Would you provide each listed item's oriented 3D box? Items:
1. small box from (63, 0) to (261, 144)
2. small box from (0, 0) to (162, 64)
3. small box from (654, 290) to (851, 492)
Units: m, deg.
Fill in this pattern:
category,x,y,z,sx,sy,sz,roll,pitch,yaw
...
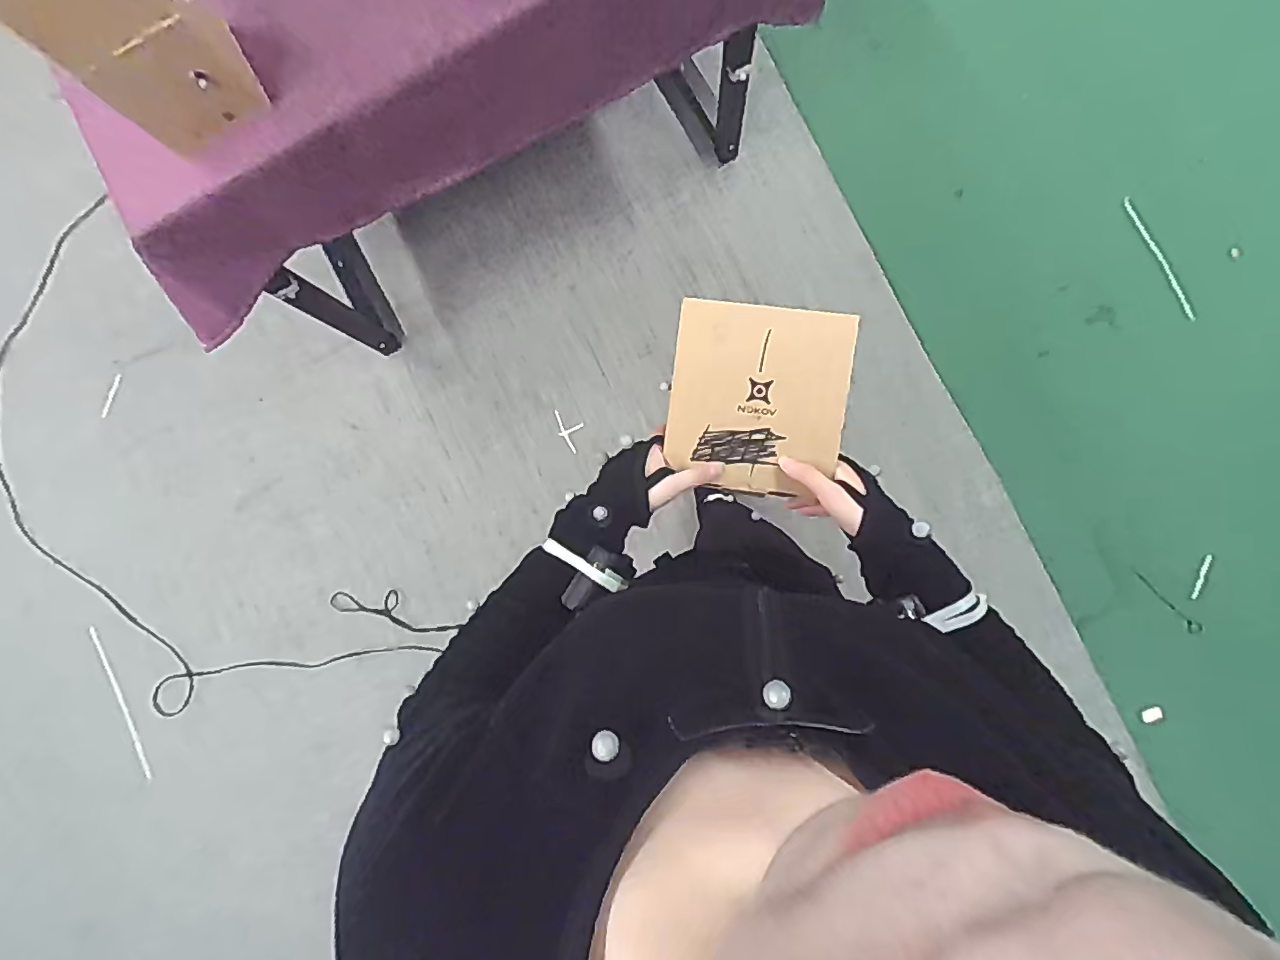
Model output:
category,x,y,z,sx,sy,sz,roll,pitch,yaw
small box,-0.704,-0.632,0.783,0.168,0.176,0.179,-30,84,0
small box,-0.718,-0.641,0.622,0.179,0.176,0.168,-32,85,-1
small box,0.110,-0.090,0.589,0.168,0.176,0.179,7,95,3
